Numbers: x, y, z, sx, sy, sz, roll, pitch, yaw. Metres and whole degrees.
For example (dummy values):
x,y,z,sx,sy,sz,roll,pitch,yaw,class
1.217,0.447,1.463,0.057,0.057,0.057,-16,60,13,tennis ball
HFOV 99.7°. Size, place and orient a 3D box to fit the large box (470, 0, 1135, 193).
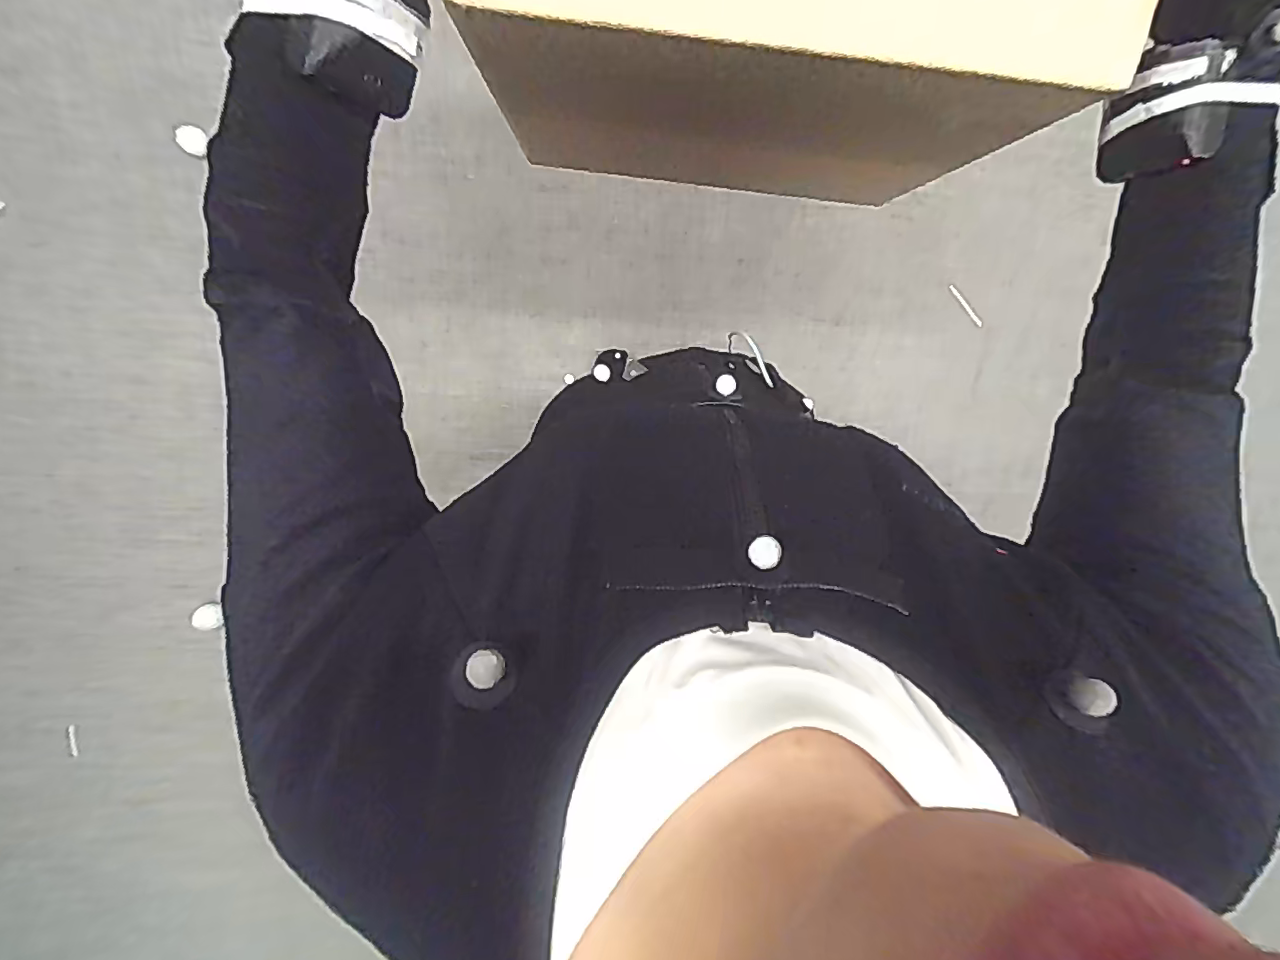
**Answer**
x,y,z,sx,sy,sz,roll,pitch,yaw,class
0.096,-0.444,0.422,0.408,0.320,0.320,4,106,-5,large box
